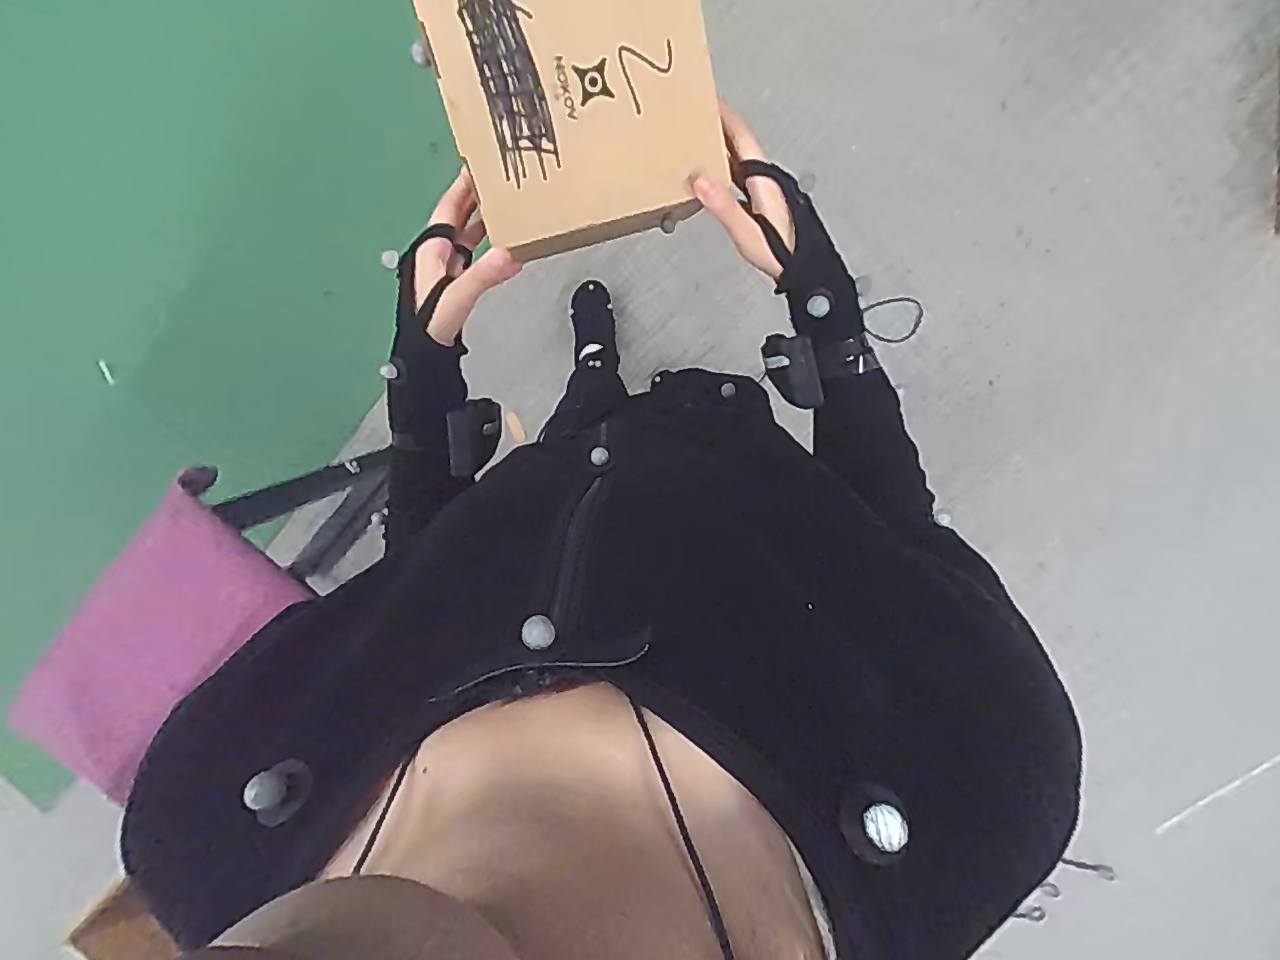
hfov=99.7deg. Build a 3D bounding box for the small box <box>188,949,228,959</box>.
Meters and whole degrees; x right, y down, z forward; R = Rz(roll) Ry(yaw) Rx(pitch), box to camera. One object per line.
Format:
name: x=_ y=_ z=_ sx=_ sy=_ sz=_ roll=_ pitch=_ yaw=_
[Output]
small box: x=-0.656 y=0.831 z=0.766 sx=0.179 sy=0.176 sz=0.168 roll=43 pitch=104 yaw=-4
